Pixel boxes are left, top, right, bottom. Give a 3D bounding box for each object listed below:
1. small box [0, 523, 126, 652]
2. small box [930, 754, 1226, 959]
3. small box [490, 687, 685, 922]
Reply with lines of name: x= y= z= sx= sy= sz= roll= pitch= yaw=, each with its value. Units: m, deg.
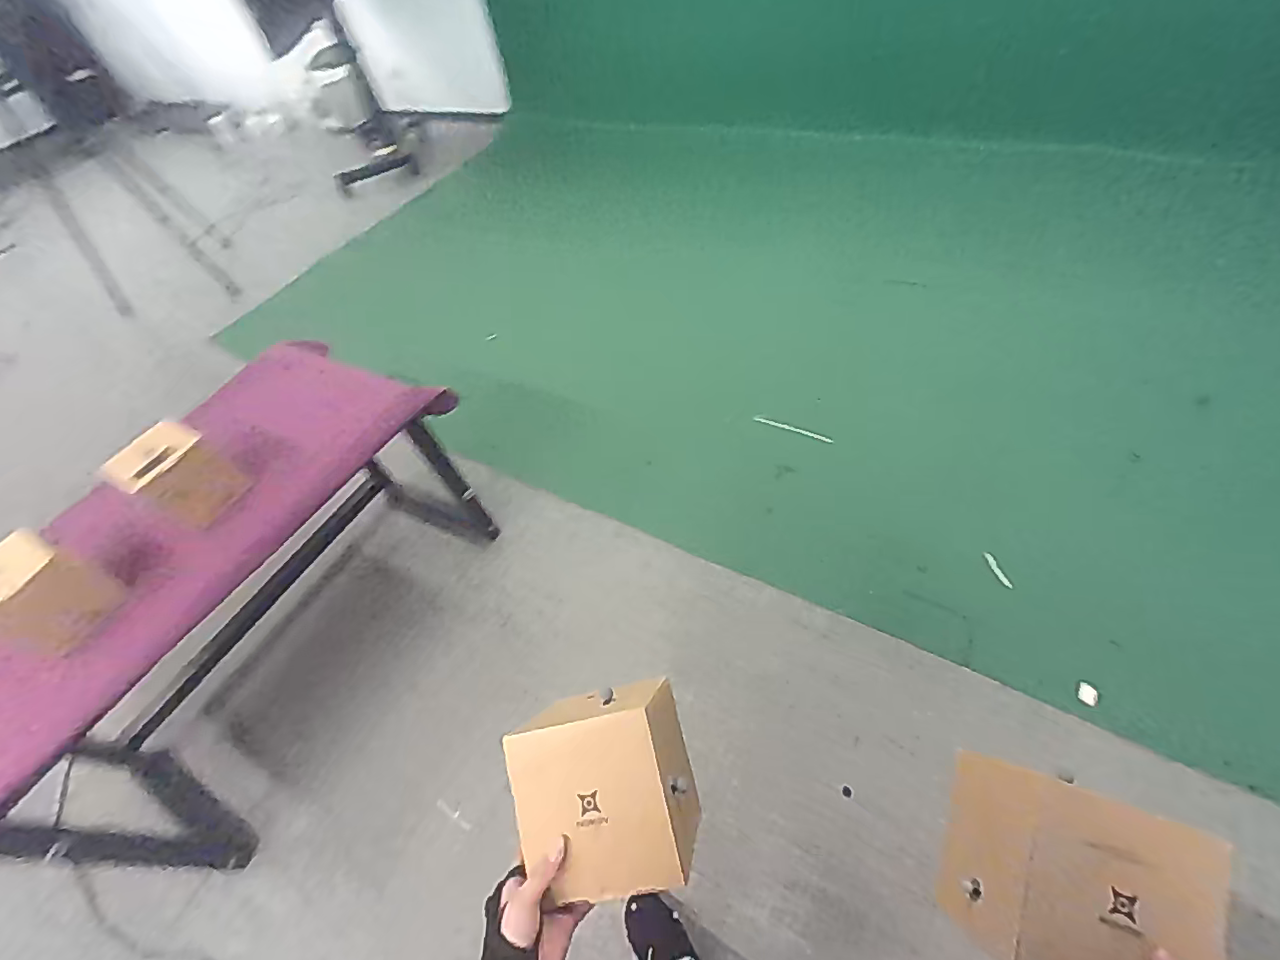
small box: x=-1.220 y=0.220 z=1.092 sx=0.179 sy=0.176 sz=0.168 roll=20 pitch=59 yaw=24
small box: x=0.423 y=0.408 z=0.550 sx=0.168 sy=0.176 sz=0.179 roll=18 pitch=73 yaw=9
small box: x=-0.050 y=0.352 z=0.625 sx=0.168 sy=0.176 sz=0.179 roll=-16 pitch=80 yaw=7
